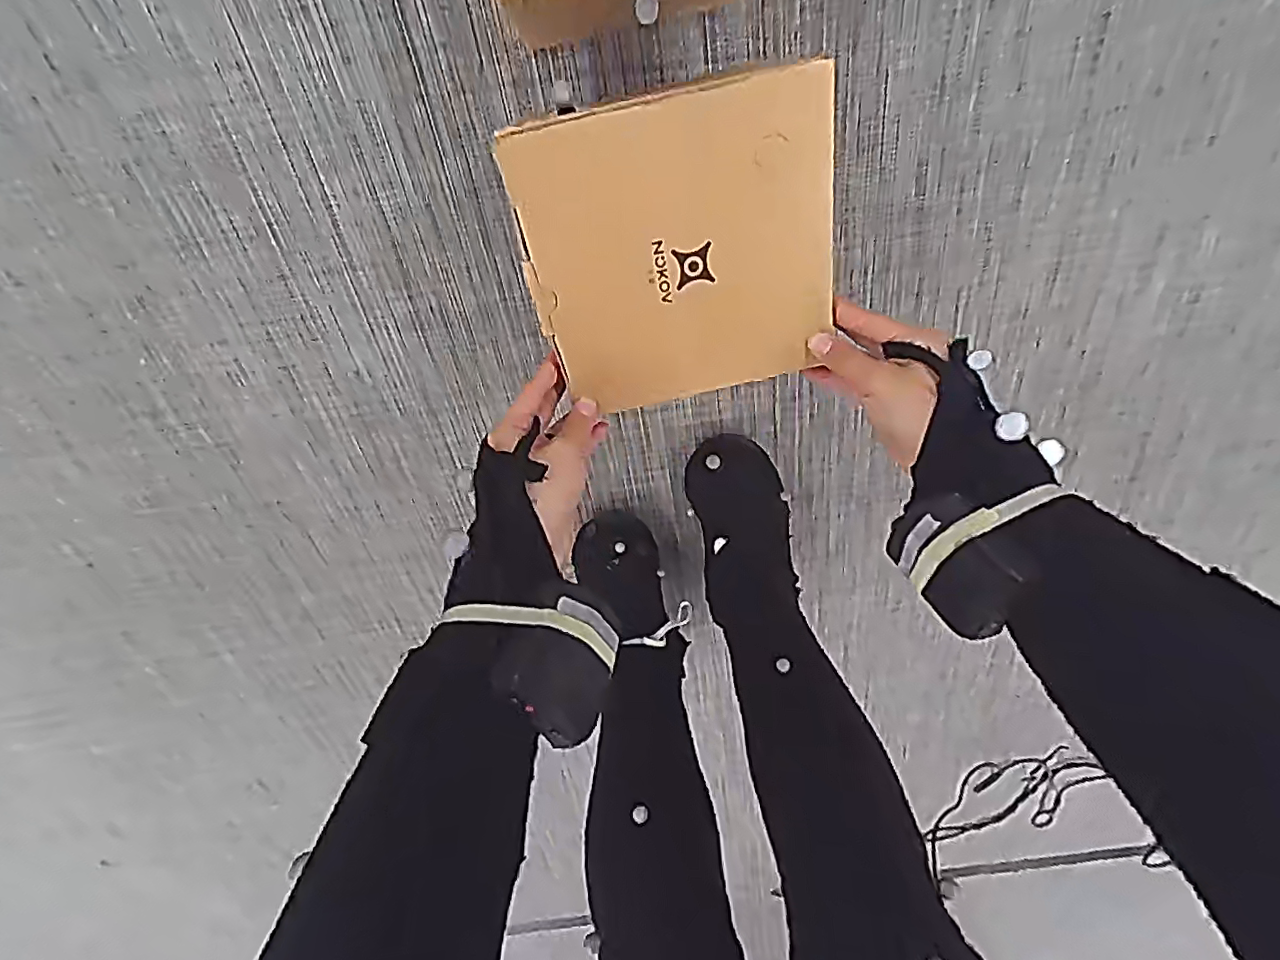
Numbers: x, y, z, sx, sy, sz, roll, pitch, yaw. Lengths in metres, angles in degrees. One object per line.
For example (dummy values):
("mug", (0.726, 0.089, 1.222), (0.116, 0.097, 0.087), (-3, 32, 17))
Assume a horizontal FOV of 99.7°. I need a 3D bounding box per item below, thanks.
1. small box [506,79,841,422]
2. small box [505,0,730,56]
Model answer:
("small box", (0.020, -0.167, 0.380), (0.179, 0.176, 0.168), (-12, 126, 2))
("small box", (-0.017, -0.388, 0.321), (0.168, 0.176, 0.179), (-10, 121, 3))
